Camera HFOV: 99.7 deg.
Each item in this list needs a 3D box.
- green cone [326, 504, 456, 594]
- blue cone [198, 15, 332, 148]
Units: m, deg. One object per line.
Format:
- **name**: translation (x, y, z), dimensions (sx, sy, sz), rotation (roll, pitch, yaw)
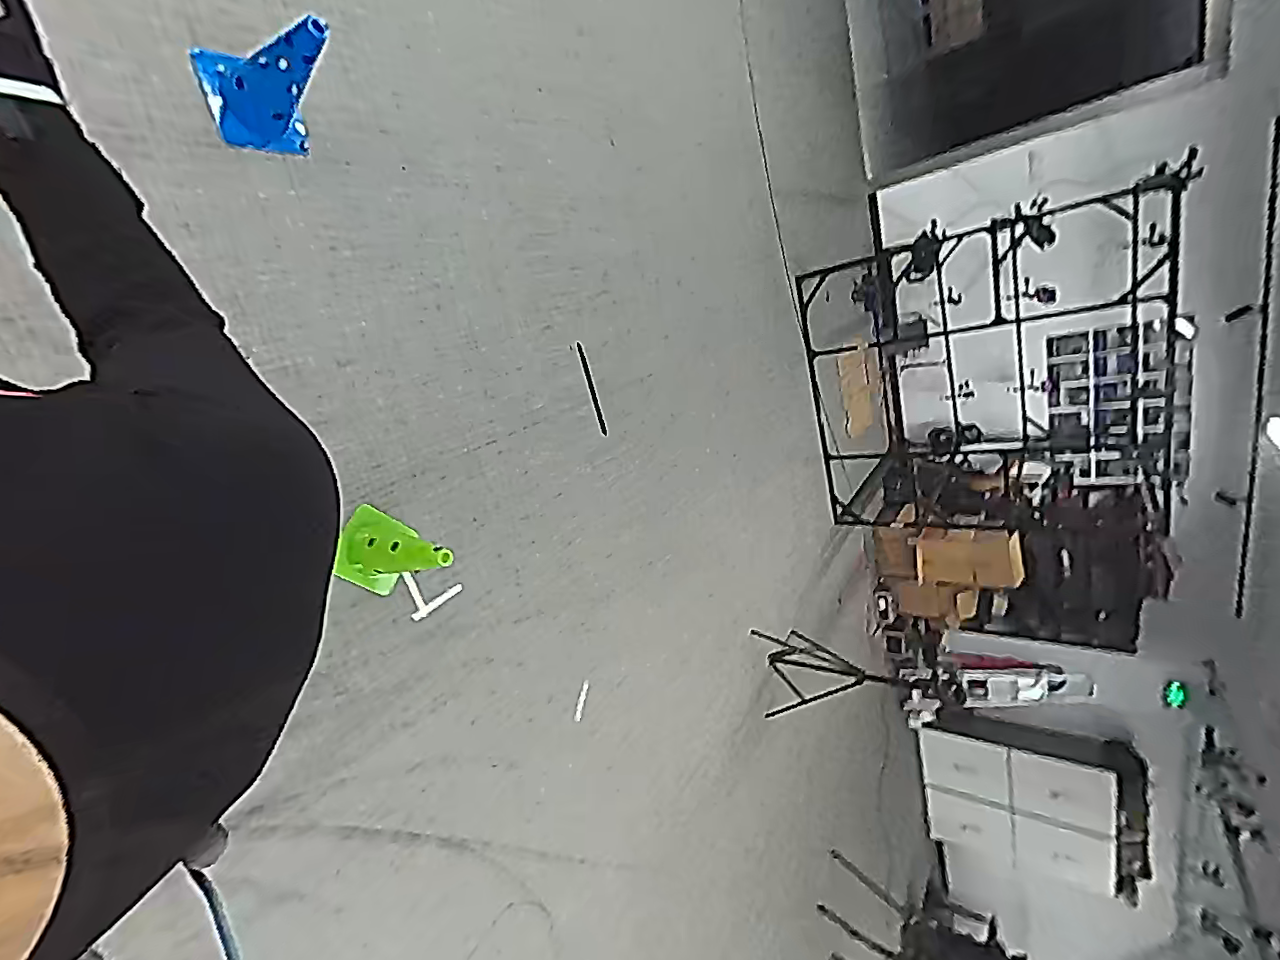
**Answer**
- **green cone**: translation (-0.595, 0.184, 1.388), dimensions (0.200, 0.368, 0.202), rotation (44, 54, -43)
- **blue cone**: translation (-0.798, -0.913, 1.199), dimensions (0.192, 0.380, 0.193), rotation (-29, 112, -50)
